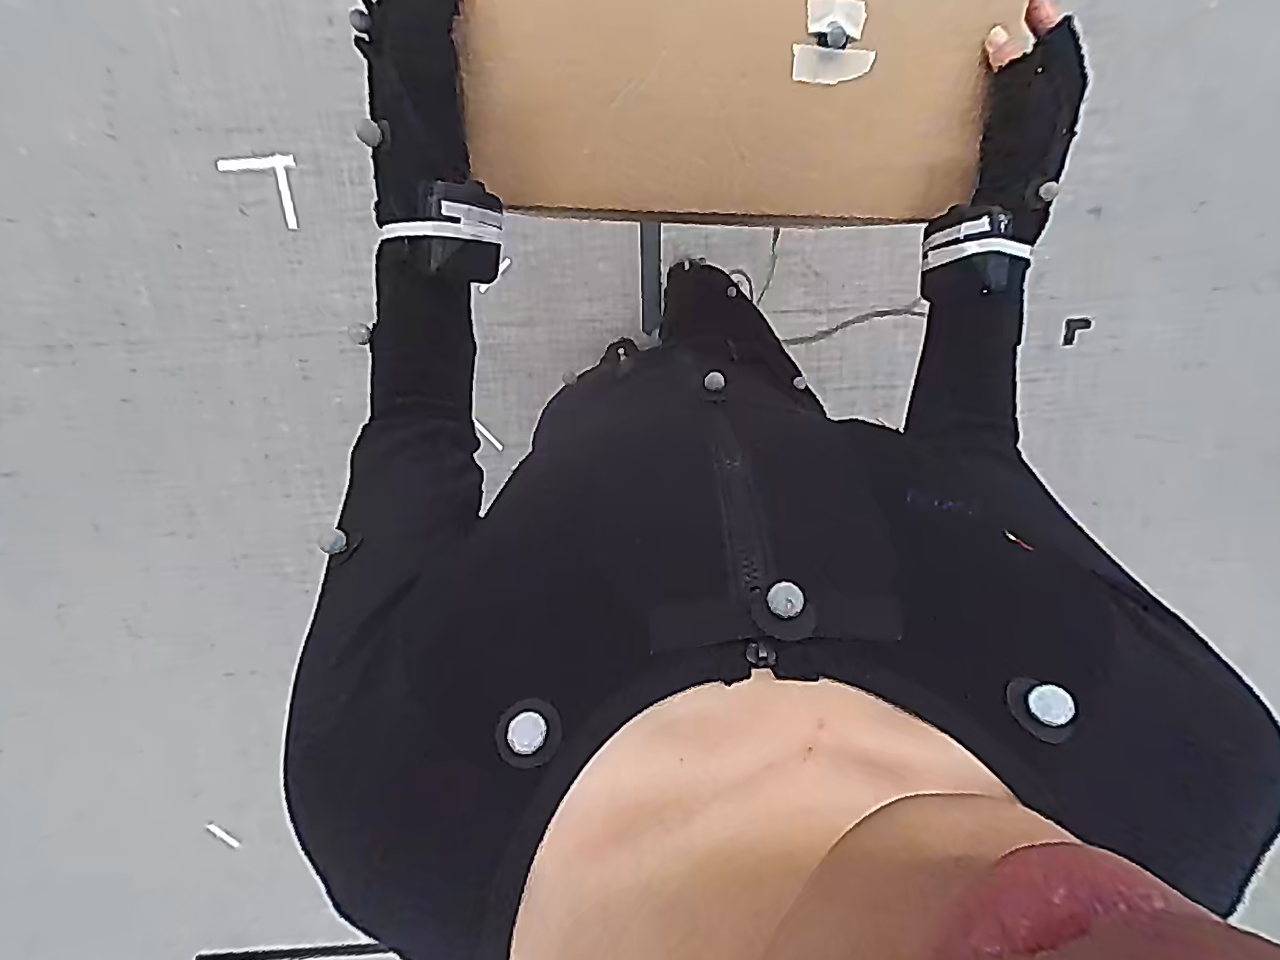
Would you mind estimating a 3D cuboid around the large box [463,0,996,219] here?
[{"bbox_3d":[0.059,-0.431,0.524,0.408,0.320,0.320,0,115,-4],"label":"large box"}]
